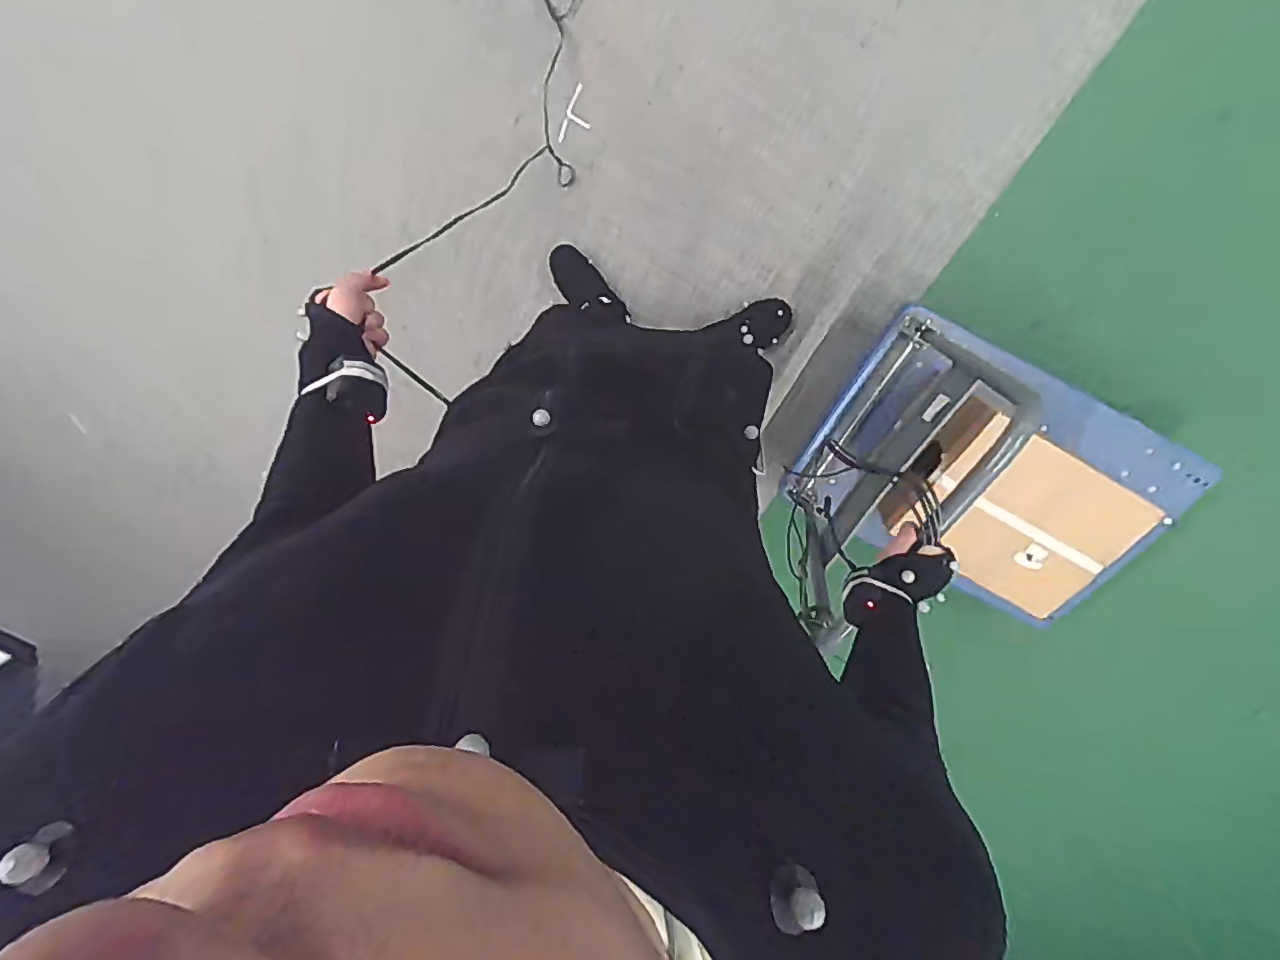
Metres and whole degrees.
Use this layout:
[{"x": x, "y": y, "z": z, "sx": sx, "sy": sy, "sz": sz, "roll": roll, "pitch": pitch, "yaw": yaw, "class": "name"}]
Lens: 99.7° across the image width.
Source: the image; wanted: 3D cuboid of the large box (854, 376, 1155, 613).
[{"x": 0.773, "y": 0.018, "z": 1.224, "sx": 0.408, "sy": 0.320, "sz": 0.320, "roll": 29, "pitch": 117, "yaw": -6, "class": "large box"}]
